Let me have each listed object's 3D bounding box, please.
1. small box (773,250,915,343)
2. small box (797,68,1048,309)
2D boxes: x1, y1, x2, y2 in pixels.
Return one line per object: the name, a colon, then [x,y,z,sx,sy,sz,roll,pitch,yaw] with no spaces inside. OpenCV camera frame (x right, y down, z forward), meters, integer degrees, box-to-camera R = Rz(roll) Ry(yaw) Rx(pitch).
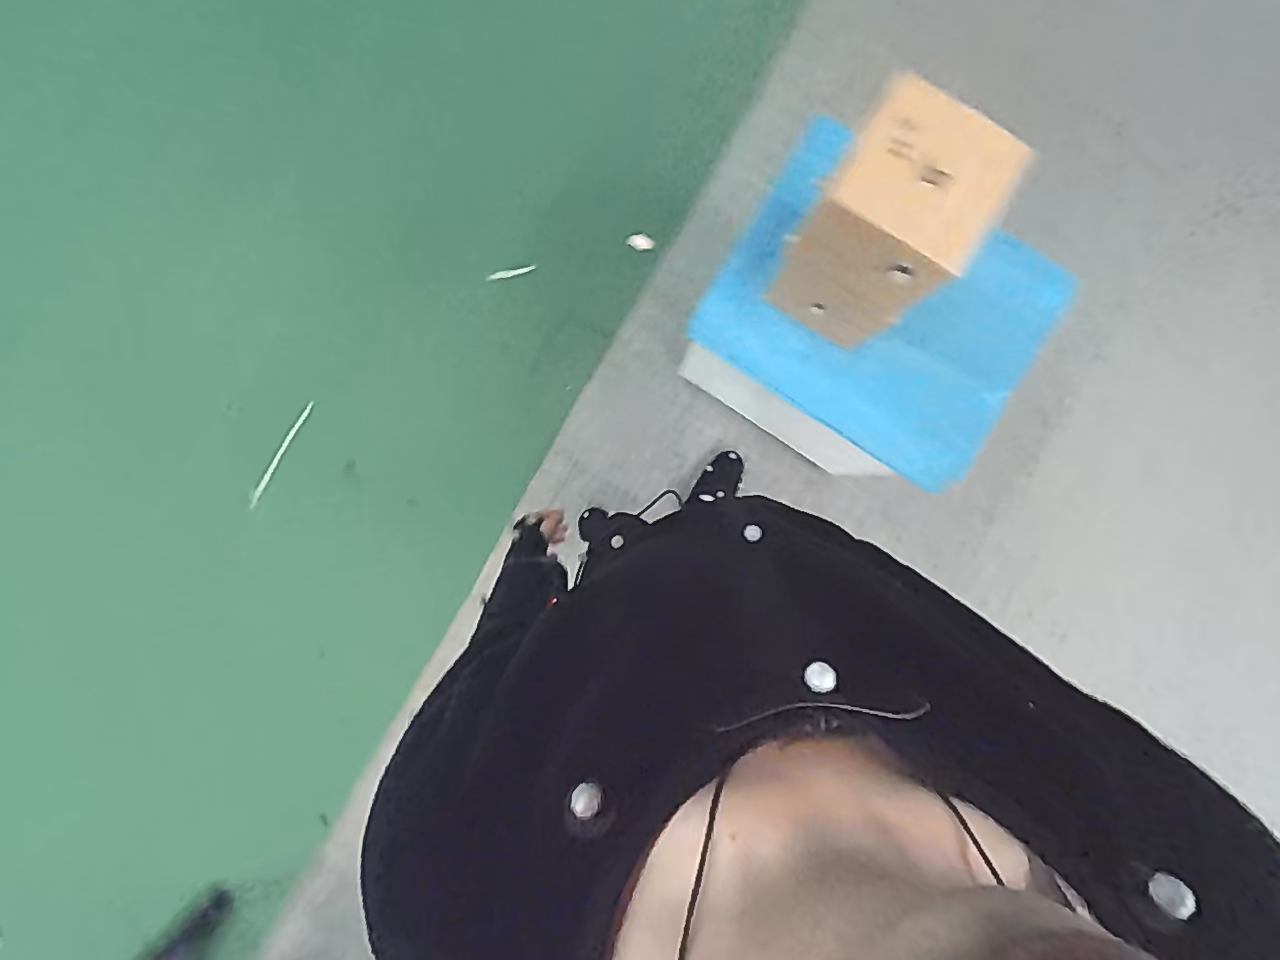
small box: [0.334,-0.330,0.827,0.179,0.176,0.168,32,90,0]
small box: [0.327,-0.333,0.663,0.179,0.176,0.168,32,89,-1]
